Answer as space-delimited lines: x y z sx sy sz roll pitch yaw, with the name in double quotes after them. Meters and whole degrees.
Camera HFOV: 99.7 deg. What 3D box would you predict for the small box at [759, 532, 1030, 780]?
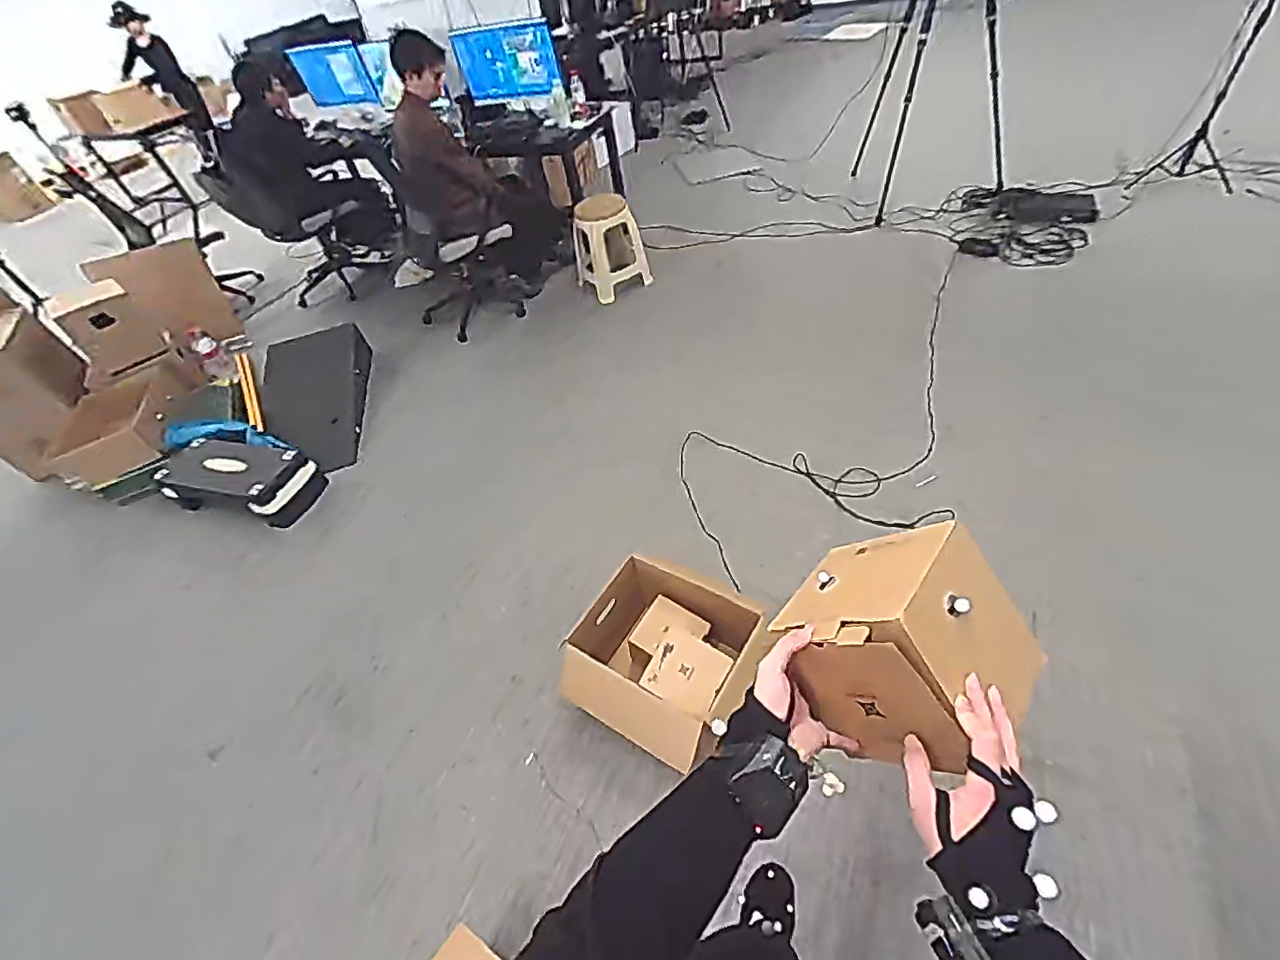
0.267 0.172 0.569 0.176 0.168 0.179 -37 94 -36 "small box"
